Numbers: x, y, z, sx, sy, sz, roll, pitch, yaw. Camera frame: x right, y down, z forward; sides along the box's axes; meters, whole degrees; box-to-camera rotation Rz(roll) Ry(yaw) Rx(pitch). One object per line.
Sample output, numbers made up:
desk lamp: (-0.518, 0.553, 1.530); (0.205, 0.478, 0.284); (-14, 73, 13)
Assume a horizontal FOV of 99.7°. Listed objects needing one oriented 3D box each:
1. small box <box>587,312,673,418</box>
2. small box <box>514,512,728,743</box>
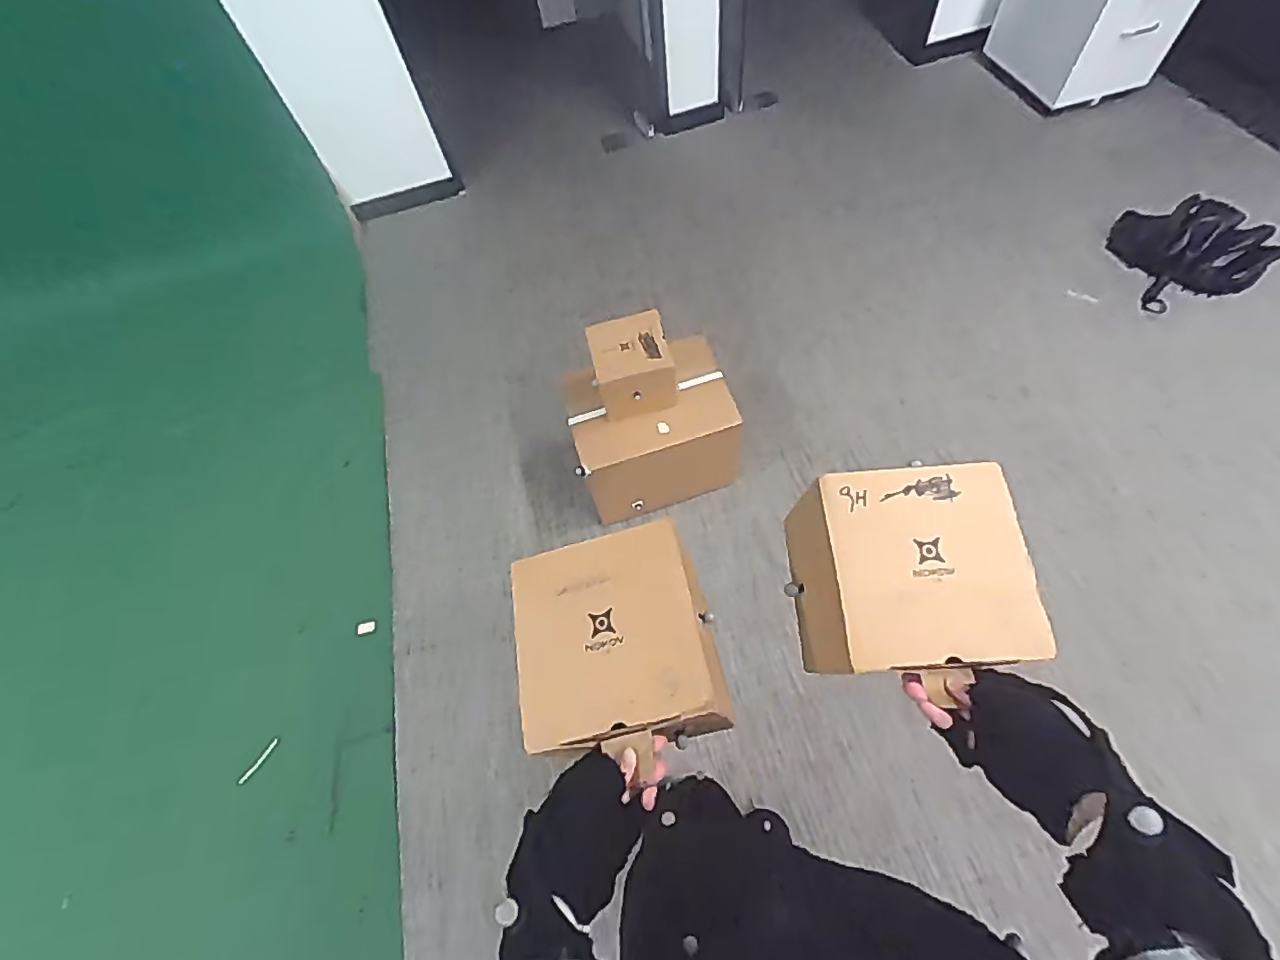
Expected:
small box: (-0.020, -0.269, 1.289); (0.179, 0.176, 0.168); (-11, 65, 0)
small box: (-0.014, 0.161, 0.555); (0.168, 0.176, 0.179); (-16, 58, 6)
